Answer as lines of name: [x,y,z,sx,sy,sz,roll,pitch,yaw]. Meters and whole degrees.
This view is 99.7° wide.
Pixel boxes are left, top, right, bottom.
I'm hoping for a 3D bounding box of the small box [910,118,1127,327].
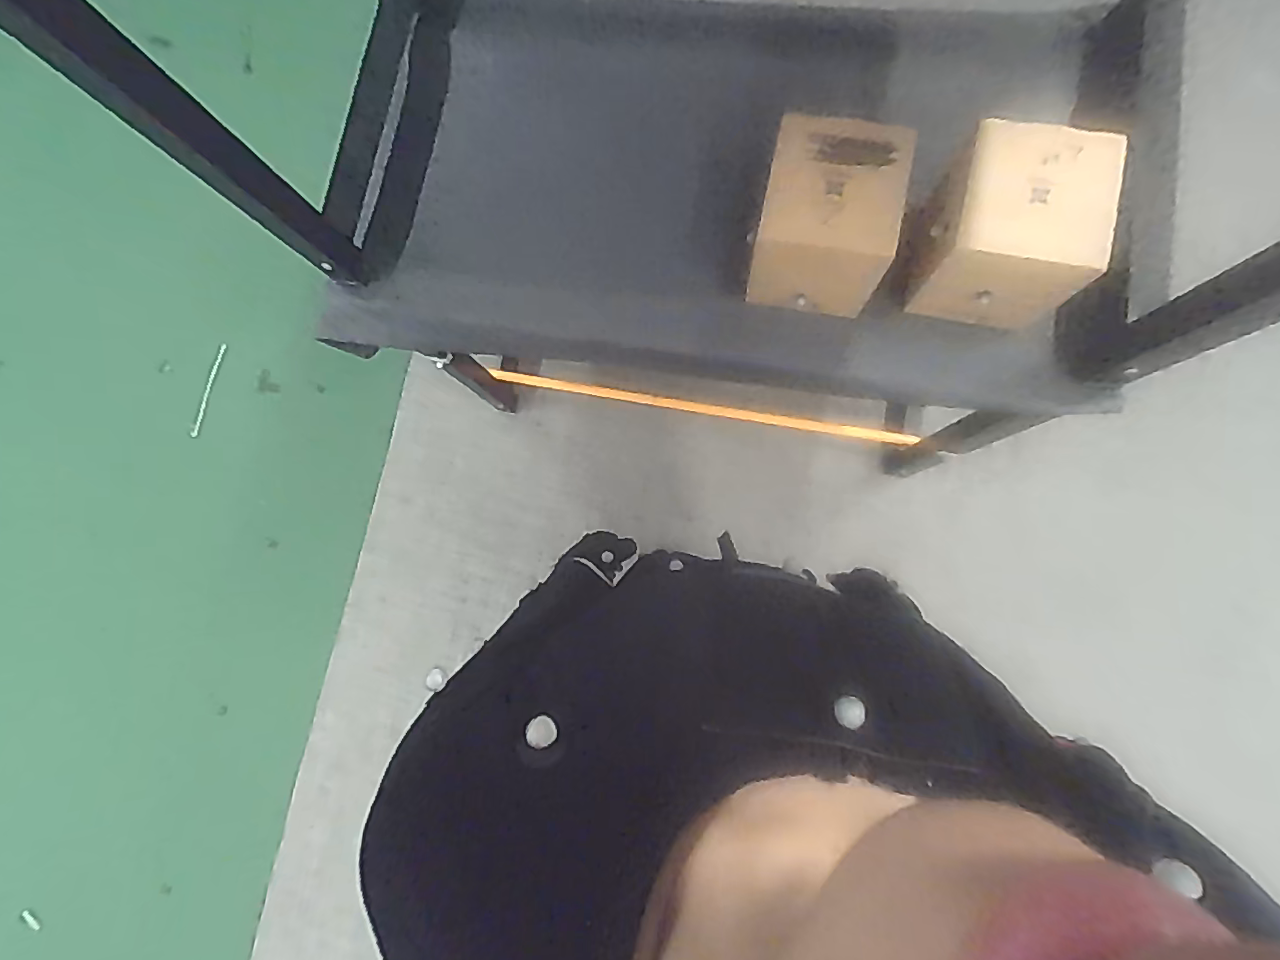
small box: [0.476,-0.323,0.709,0.168,0.176,0.179,13,82,8]
